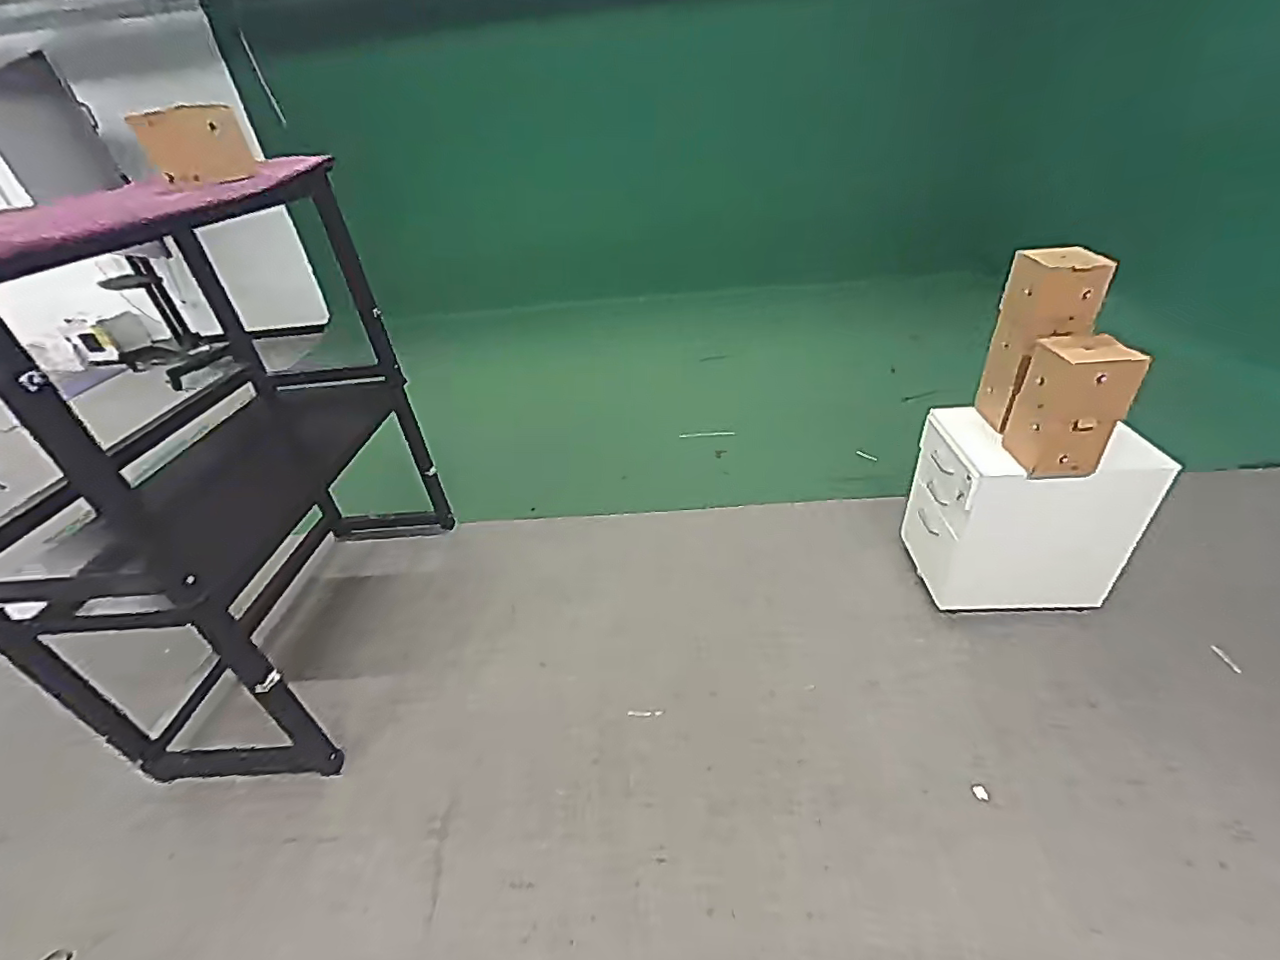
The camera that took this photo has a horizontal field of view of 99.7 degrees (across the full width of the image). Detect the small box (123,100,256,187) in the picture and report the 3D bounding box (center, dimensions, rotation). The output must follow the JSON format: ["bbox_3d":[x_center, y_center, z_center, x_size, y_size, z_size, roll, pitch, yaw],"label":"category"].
[{"bbox_3d":[-1.160,-0.876,1.414,0.168,0.176,0.179,-5,35,6],"label":"small box"}]

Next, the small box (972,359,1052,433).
[{"bbox_3d":[1.173,-0.262,1.685,0.168,0.176,0.179,-3,37,5],"label":"small box"}]

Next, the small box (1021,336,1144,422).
[{"bbox_3d":[1.130,-0.260,1.403,0.179,0.176,0.168,-1,36,6],"label":"small box"}]

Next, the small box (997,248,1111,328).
[{"bbox_3d":[1.135,-0.528,1.497,0.168,0.176,0.179,-1,36,5],"label":"small box"}]
